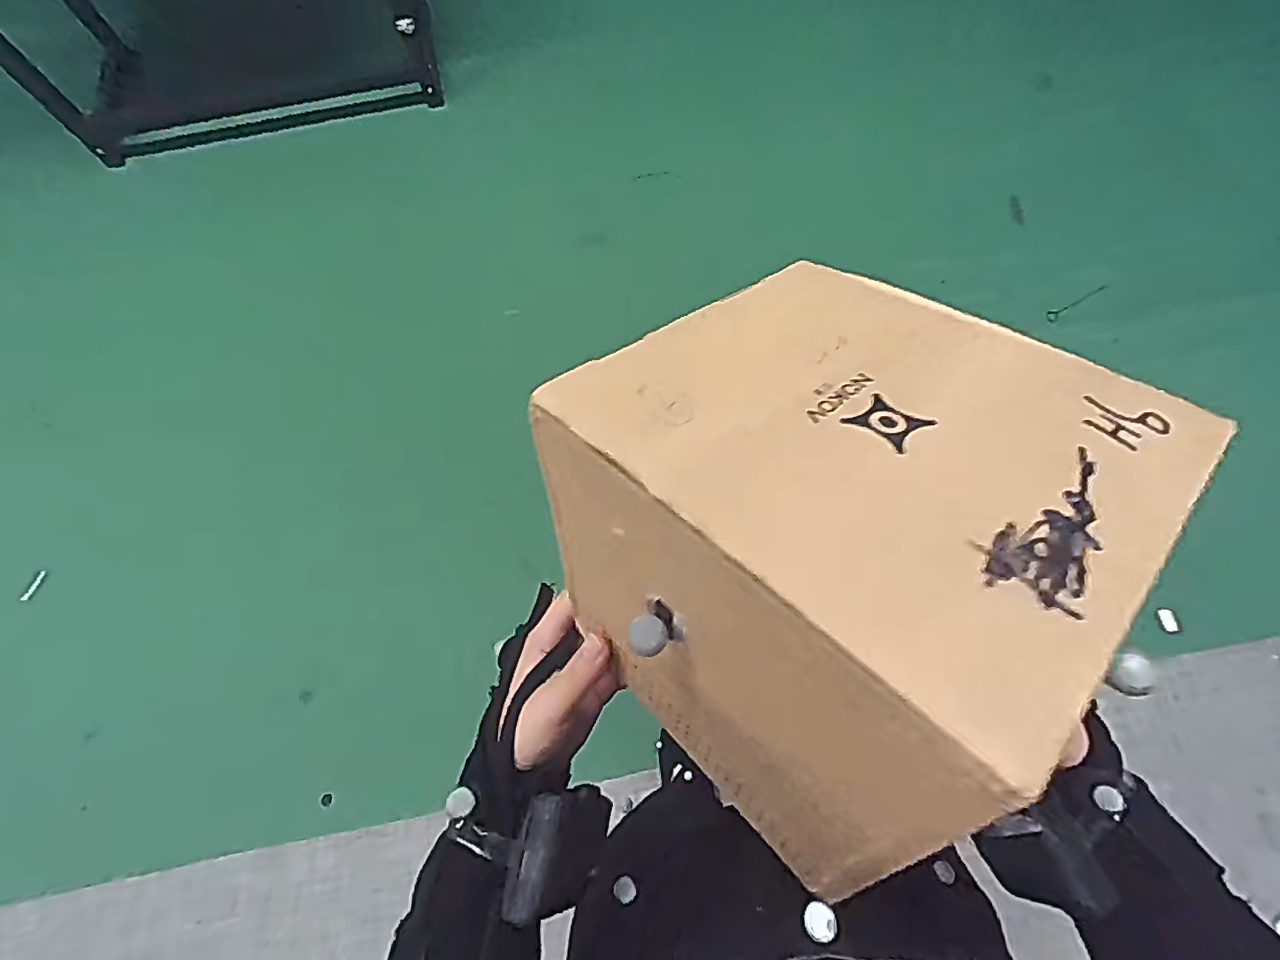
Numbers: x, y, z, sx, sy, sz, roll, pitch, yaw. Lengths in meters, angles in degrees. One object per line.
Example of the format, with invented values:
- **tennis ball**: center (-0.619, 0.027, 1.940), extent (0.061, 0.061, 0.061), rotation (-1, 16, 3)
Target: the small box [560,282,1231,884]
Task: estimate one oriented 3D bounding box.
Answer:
- **small box**: center (0.086, 0.039, 0.249), extent (0.168, 0.176, 0.179), rotation (-34, 54, -27)
